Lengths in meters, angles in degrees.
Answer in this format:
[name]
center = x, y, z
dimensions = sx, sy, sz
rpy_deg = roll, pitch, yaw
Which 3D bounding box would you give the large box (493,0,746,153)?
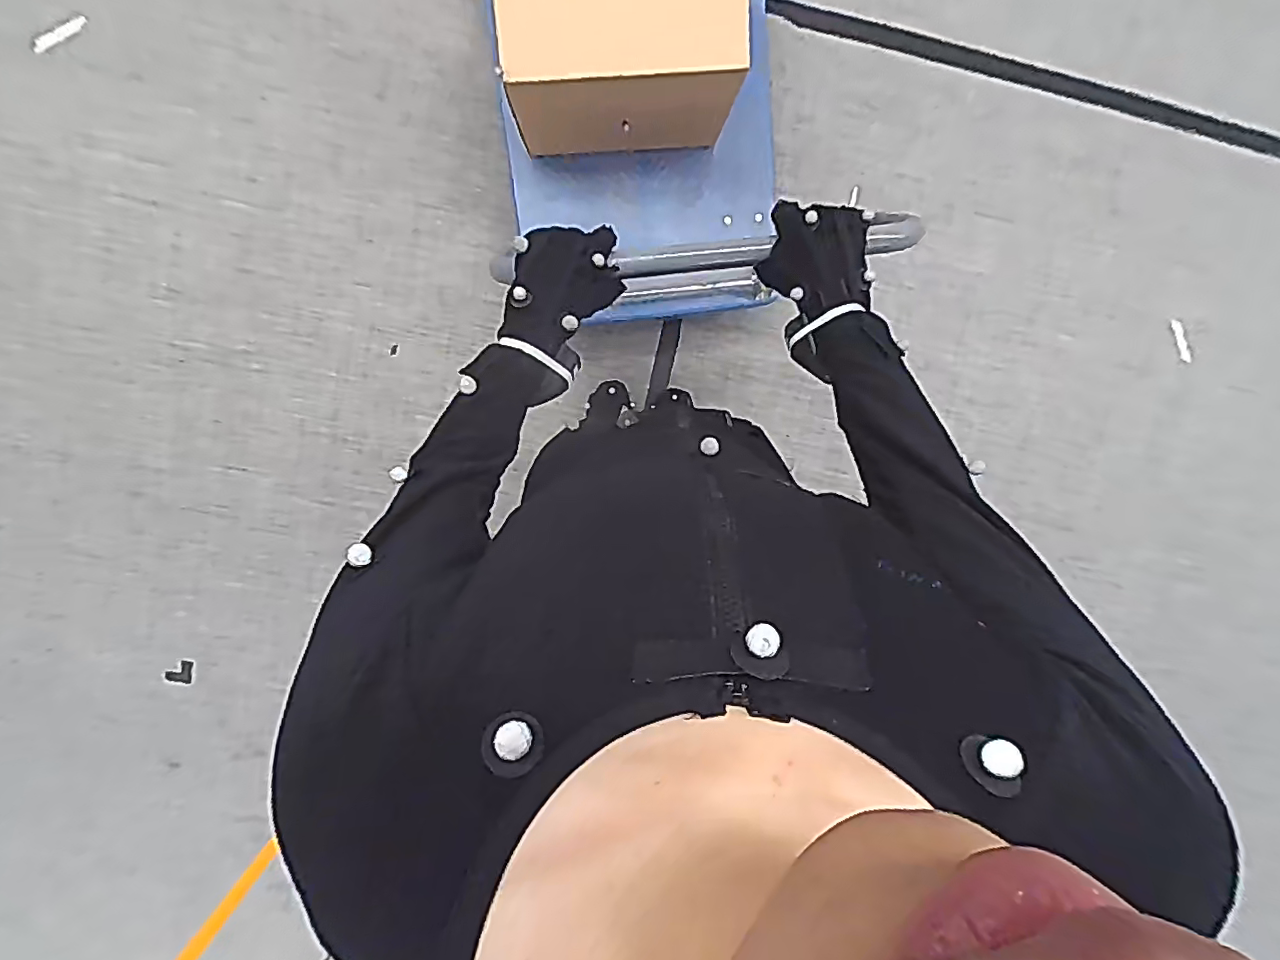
[large box]
center = -0.042, -0.835, 0.992
dimensions = 0.408, 0.320, 0.320
rpy_deg = -5, 101, -2
